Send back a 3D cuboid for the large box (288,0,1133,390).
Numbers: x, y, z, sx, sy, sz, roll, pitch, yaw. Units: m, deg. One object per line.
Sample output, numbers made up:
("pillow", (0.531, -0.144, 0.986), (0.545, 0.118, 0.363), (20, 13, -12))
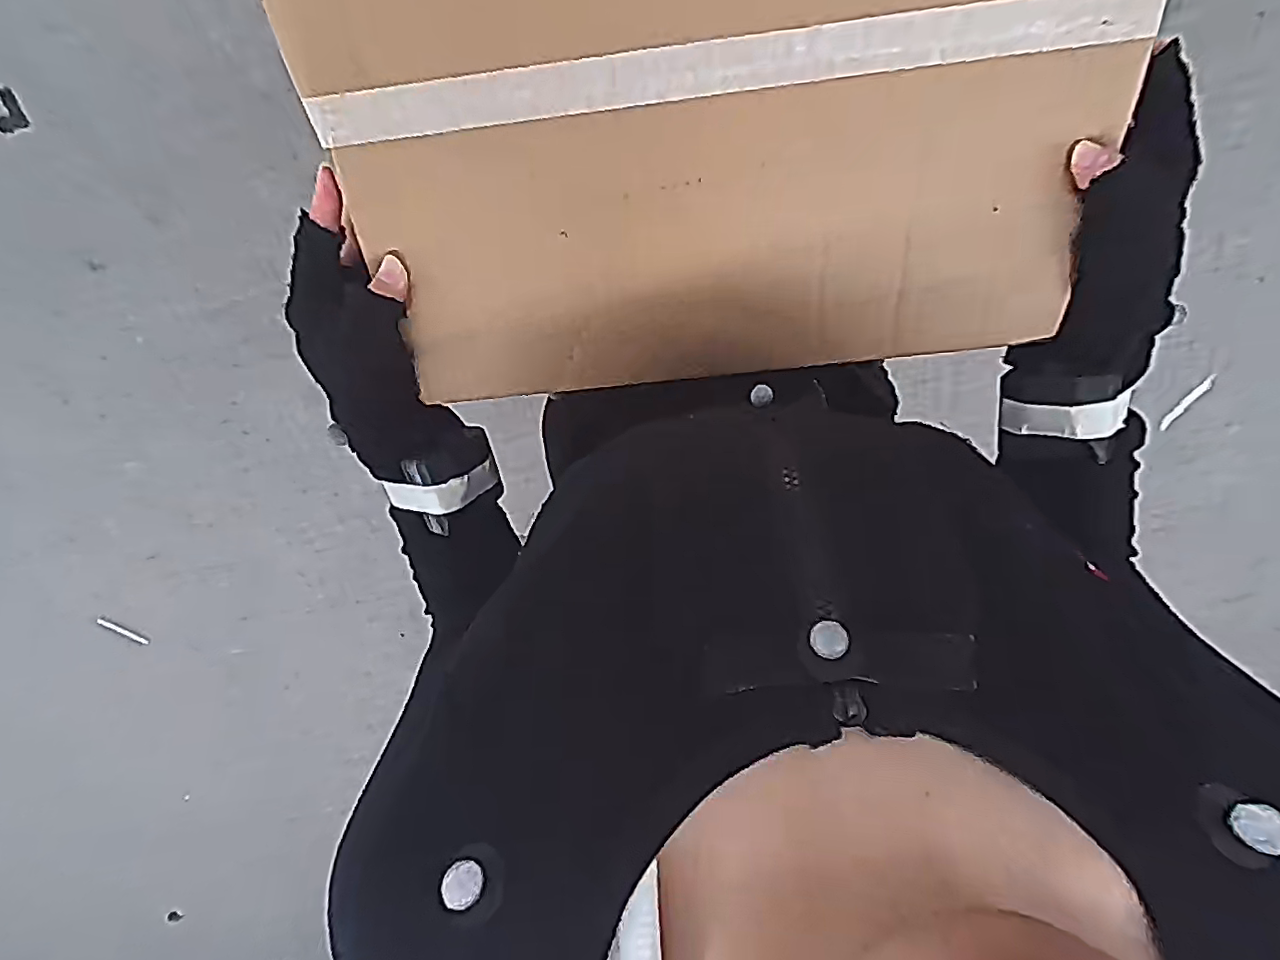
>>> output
("large box", (0.033, -0.288, 0.391), (0.408, 0.320, 0.320), (-5, 125, 3))
